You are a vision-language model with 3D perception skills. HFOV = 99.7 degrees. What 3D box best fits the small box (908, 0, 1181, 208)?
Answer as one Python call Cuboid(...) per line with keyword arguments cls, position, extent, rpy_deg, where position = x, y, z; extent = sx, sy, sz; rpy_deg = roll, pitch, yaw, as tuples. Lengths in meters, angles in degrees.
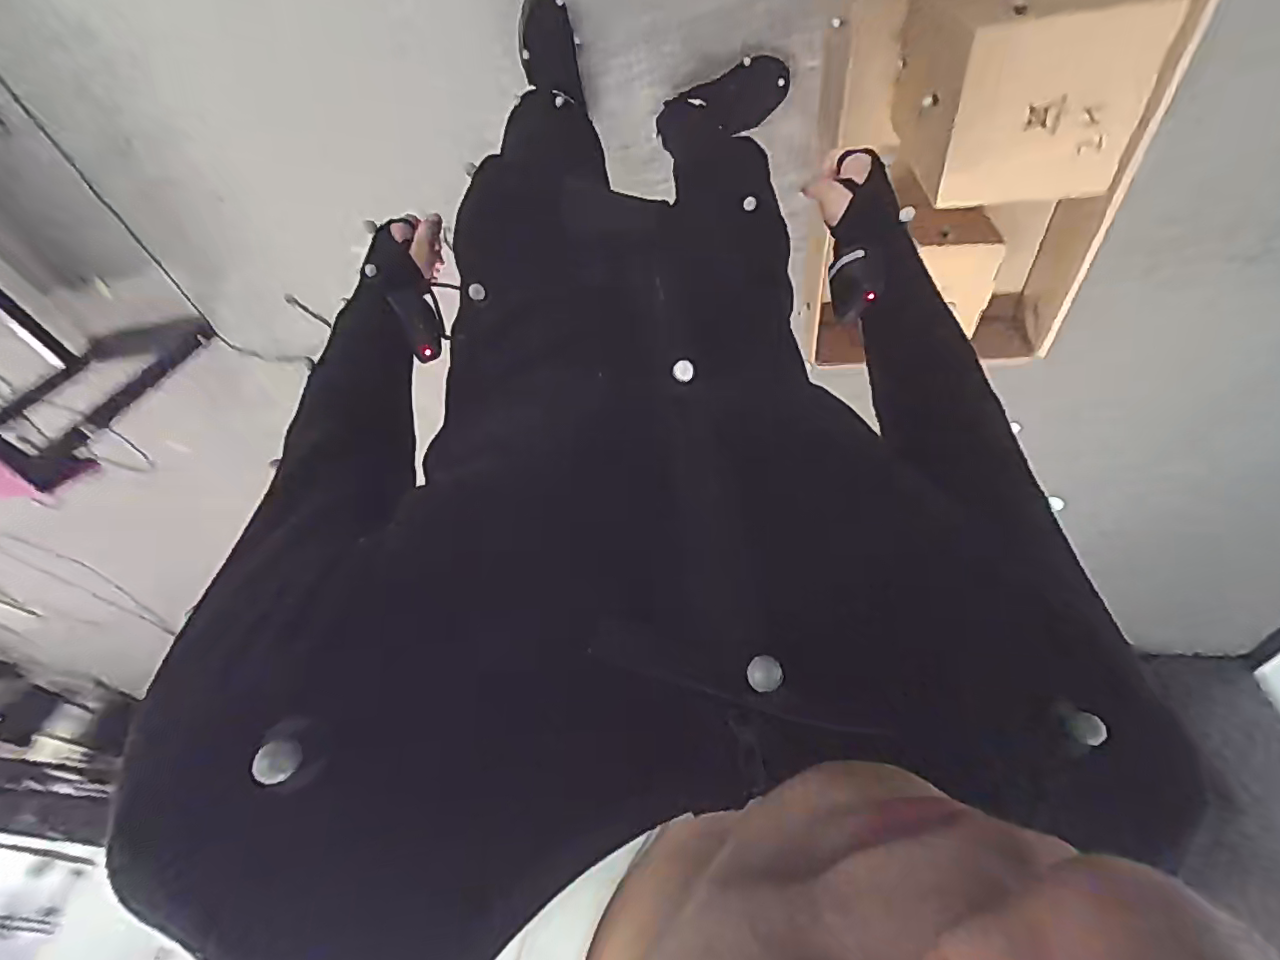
Cuboid(cls="small box", position=(0.419, -0.426, 0.607), extent=(0.179, 0.176, 0.168), rpy_deg=(1, 138, 11))
